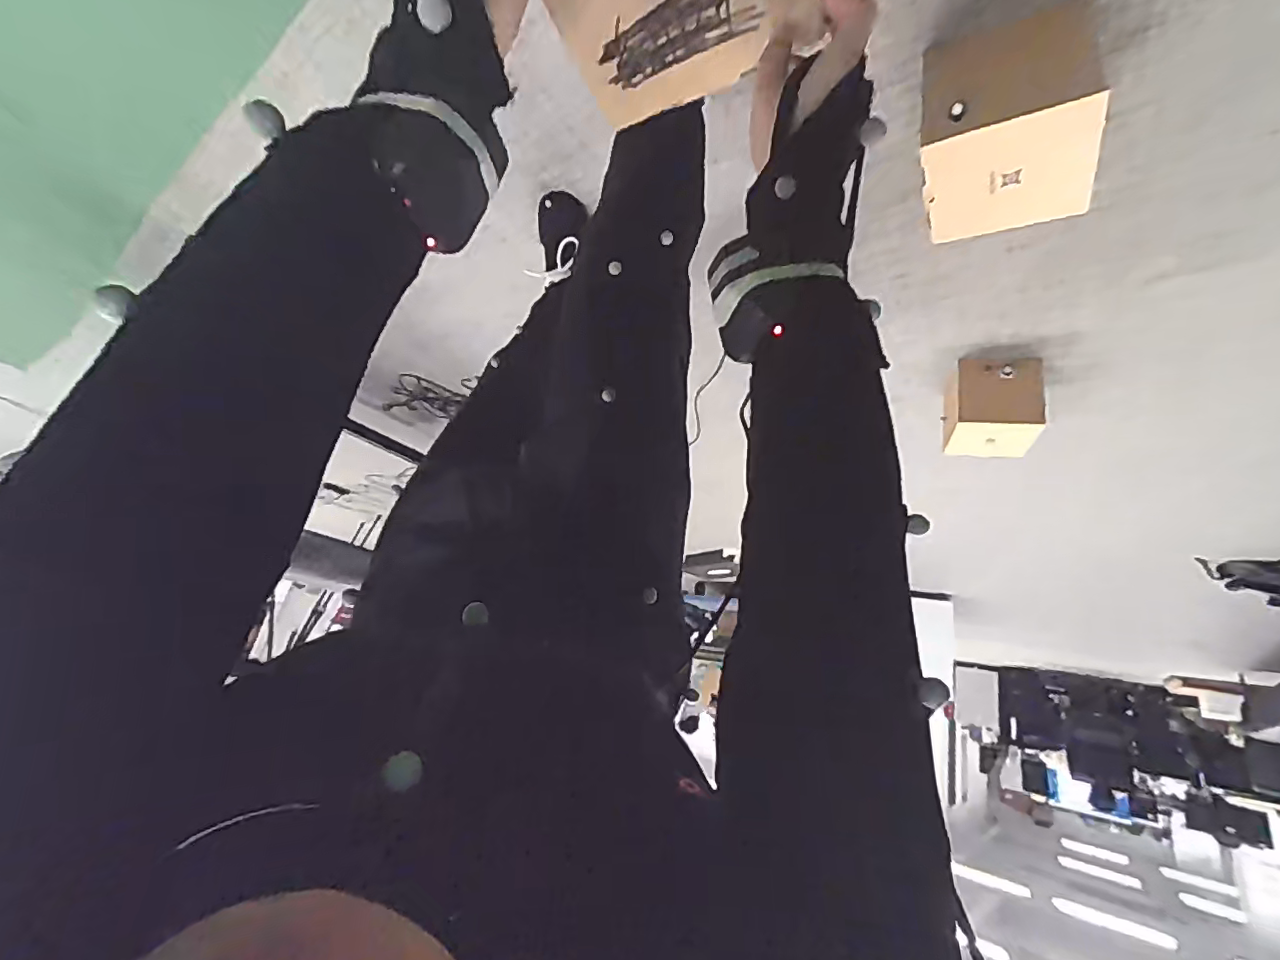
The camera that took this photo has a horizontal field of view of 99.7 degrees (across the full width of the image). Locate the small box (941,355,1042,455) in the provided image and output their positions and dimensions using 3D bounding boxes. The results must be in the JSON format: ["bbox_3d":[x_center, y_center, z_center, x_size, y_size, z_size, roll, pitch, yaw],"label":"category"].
[{"bbox_3d":[0.804,-0.171,1.251,0.168,0.176,0.179,3,158,21],"label":"small box"}]

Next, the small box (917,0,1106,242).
[{"bbox_3d":[0.455,-0.444,0.682,0.179,0.176,0.168,-1,157,33],"label":"small box"}]
